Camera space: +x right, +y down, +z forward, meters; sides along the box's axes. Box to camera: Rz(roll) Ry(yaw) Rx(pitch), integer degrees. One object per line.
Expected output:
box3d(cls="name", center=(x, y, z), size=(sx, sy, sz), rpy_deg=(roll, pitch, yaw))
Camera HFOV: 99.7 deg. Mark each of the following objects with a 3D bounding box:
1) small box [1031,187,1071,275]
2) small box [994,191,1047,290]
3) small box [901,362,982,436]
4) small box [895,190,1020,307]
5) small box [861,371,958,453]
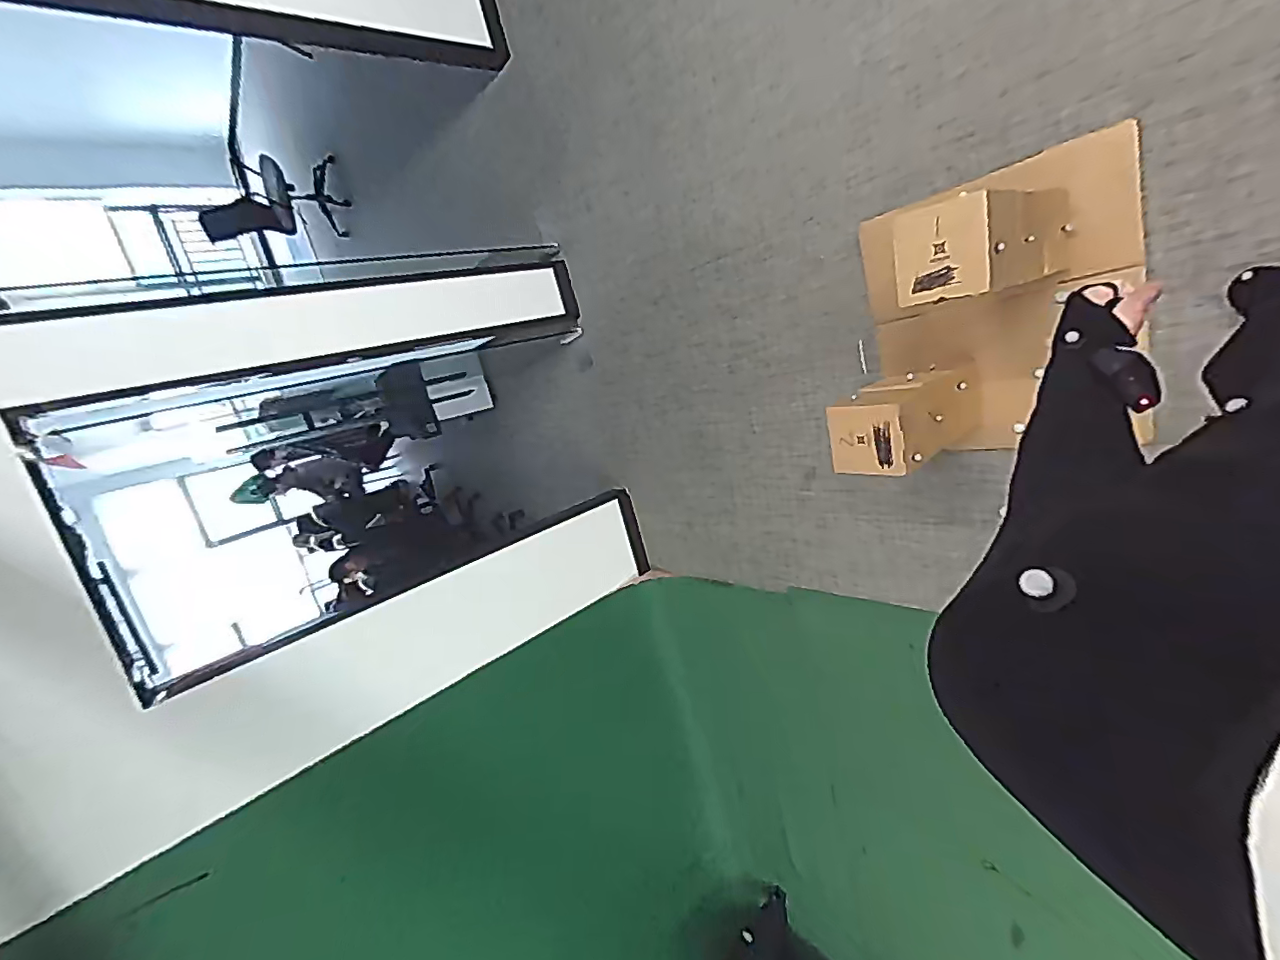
box3d(cls="small box", center=(0.871, -0.555, 1.248), size=(0.168, 0.176, 0.179), rpy_deg=(5, 113, 51))
box3d(cls="small box", center=(0.748, -0.502, 1.155), size=(0.168, 0.176, 0.179), rpy_deg=(8, 115, 49))
box3d(cls="small box", center=(0.819, -0.223, 1.490), size=(0.168, 0.176, 0.179), rpy_deg=(3, 111, 52))
box3d(cls="small box", center=(0.624, -0.452, 1.059), size=(0.168, 0.176, 0.179), rpy_deg=(6, 113, 49))
box3d(cls="small box", center=(0.697, -0.178, 1.394), size=(0.168, 0.176, 0.179), rpy_deg=(2, 111, 51))
